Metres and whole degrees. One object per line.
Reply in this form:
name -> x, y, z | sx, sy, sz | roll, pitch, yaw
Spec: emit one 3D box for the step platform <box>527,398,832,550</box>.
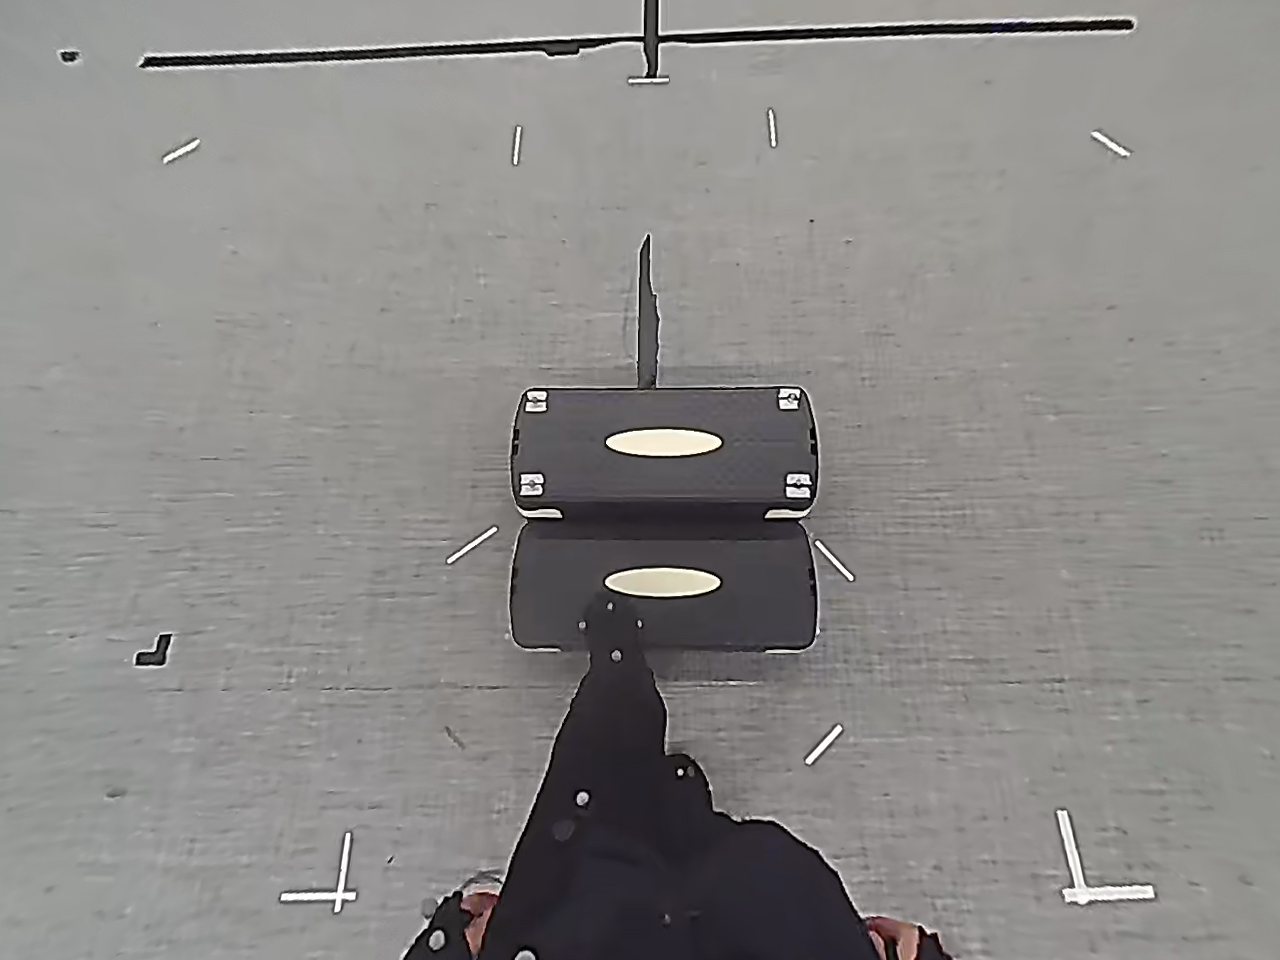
step platform -> 0.085, -0.015, 1.260 | 0.684, 0.204, 0.286 | 4, 70, 2
